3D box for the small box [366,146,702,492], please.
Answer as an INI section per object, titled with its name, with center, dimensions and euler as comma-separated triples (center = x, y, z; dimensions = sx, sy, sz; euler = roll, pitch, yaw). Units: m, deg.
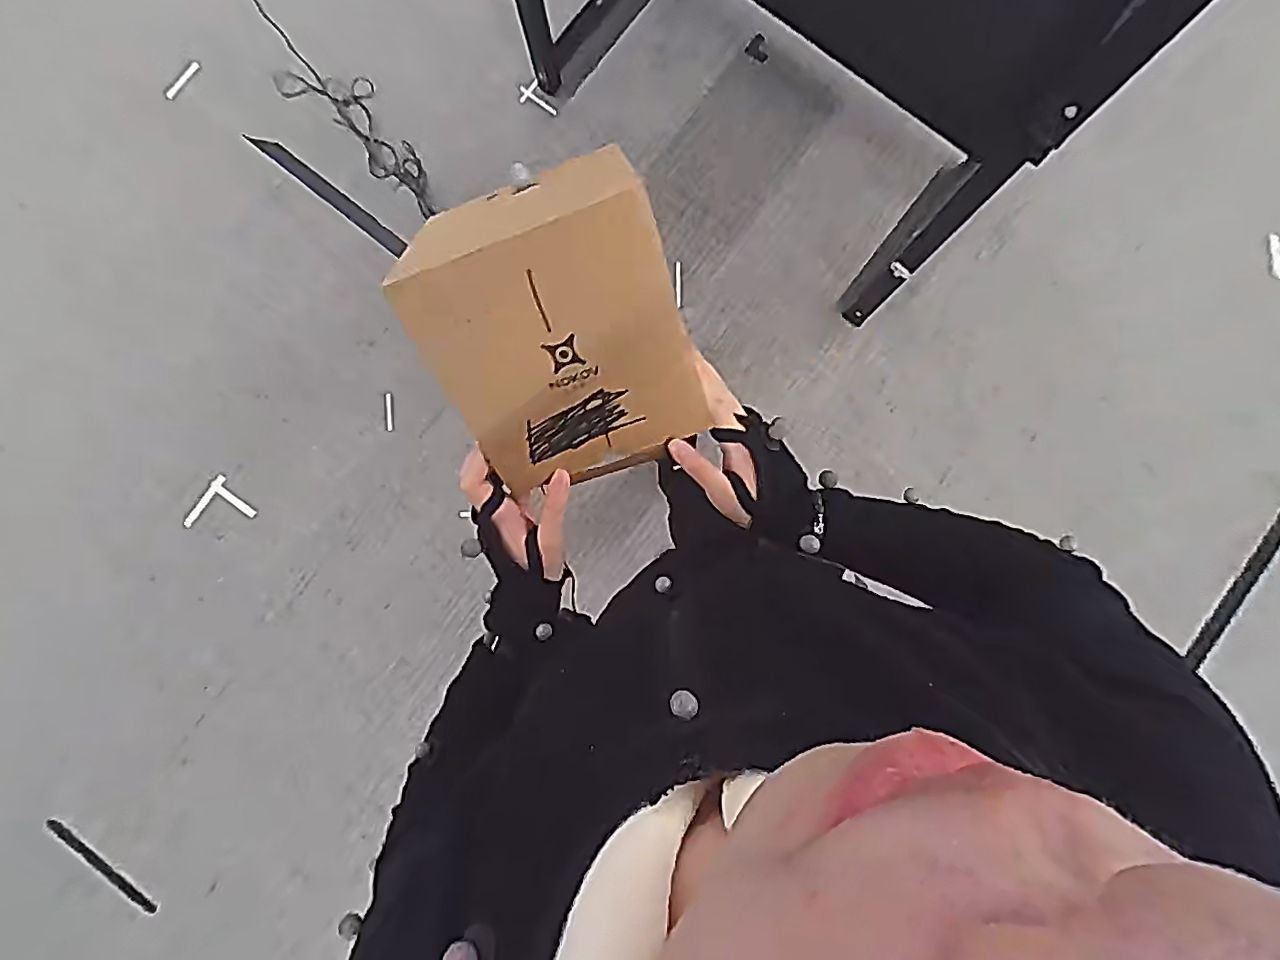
[small box]
center = -0.064, -0.125, 0.413
dimensions = 0.168, 0.176, 0.179
euler = -19, 127, 5
